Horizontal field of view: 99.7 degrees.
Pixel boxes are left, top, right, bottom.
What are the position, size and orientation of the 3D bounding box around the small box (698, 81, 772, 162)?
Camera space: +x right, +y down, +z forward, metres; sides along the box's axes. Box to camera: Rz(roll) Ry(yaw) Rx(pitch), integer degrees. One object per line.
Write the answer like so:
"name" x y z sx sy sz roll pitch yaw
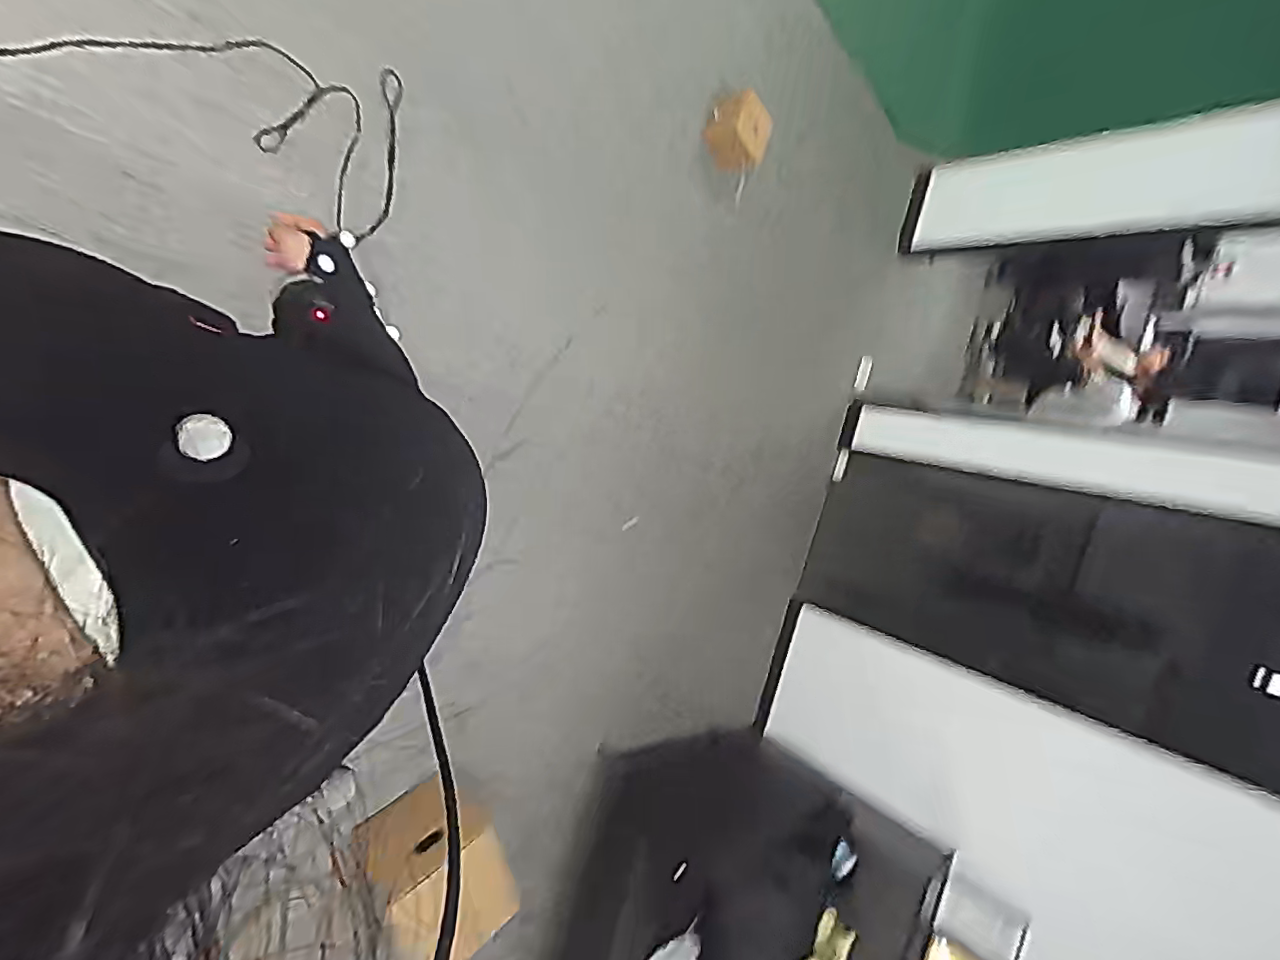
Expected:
"small box" 0.343 -1.290 1.963 0.179 0.176 0.168 23 86 -46
